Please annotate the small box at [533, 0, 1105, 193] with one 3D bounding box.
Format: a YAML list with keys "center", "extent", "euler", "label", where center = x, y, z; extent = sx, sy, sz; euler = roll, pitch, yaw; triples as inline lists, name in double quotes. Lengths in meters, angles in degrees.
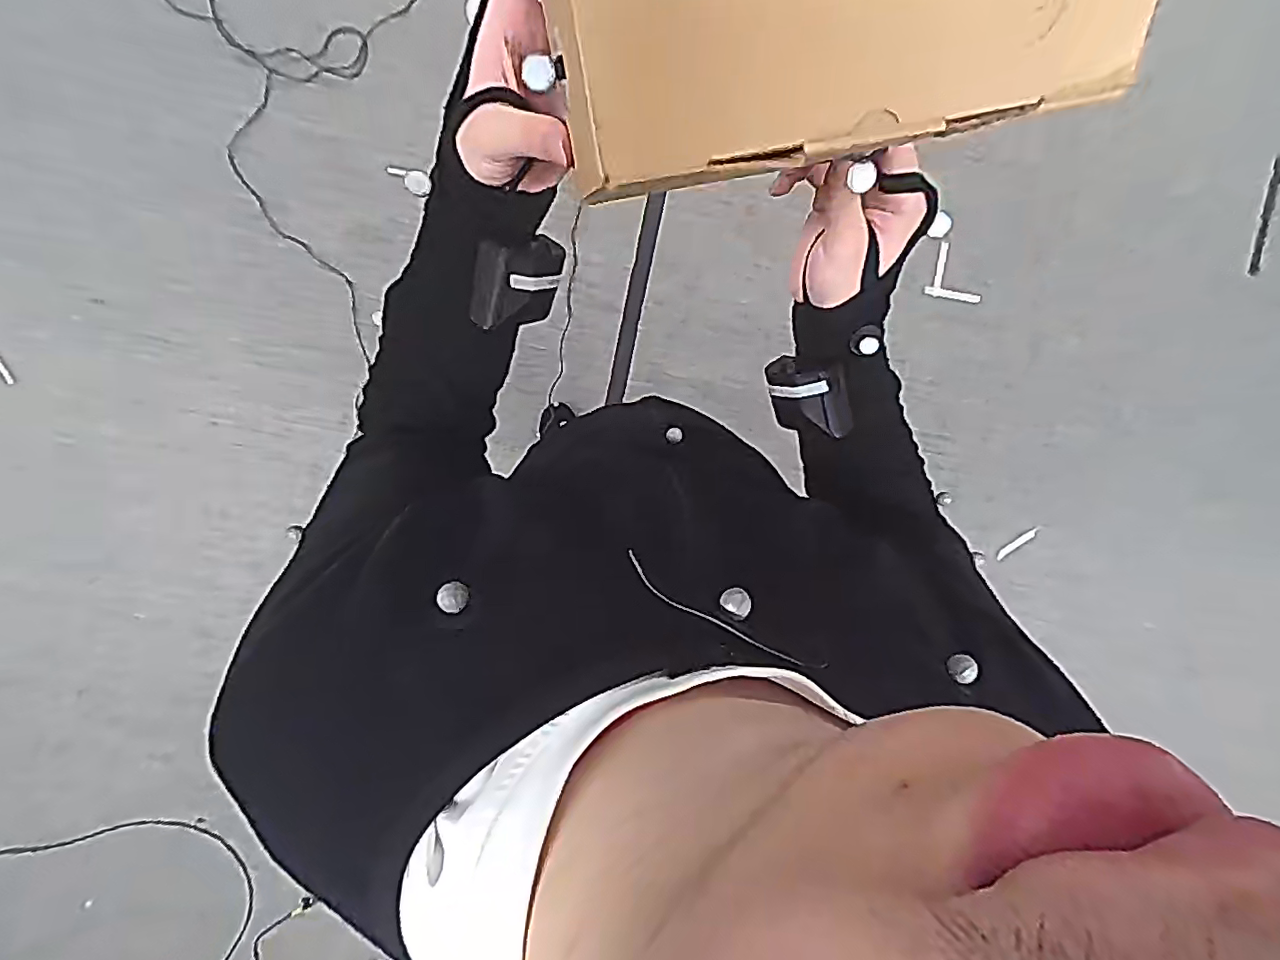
- center: [0.040, -0.218, 0.204]
  extent: [0.168, 0.176, 0.179]
  euler: [-12, 115, -3]
  label: "small box"
